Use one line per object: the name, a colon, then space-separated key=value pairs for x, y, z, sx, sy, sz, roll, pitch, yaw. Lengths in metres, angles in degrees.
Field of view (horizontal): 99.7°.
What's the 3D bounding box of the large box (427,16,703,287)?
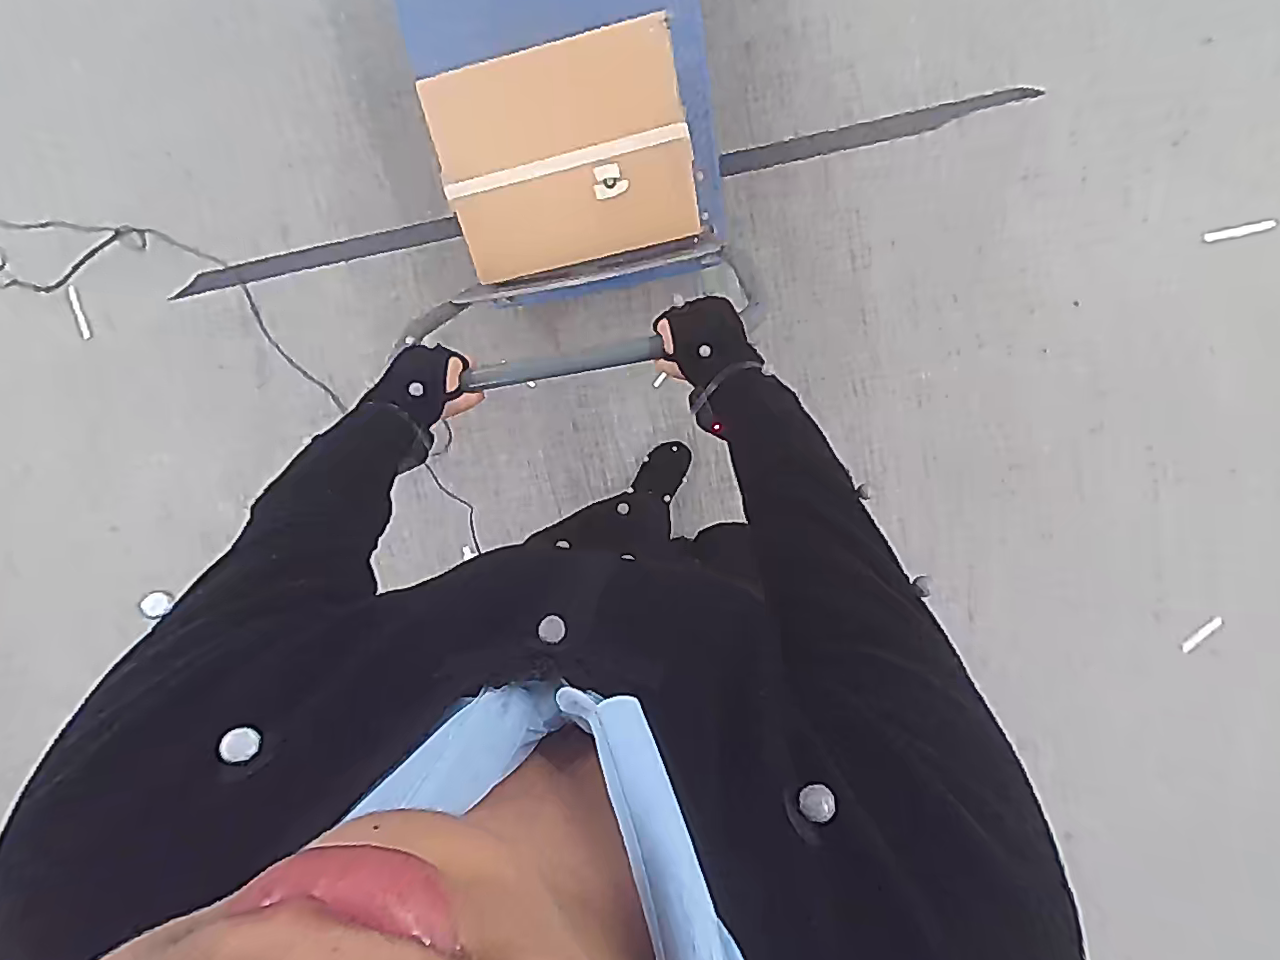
large box: x=-0.116 y=-0.589 z=1.039 sx=0.408 sy=0.320 sz=0.320 roll=-12 pitch=114 yaw=6
